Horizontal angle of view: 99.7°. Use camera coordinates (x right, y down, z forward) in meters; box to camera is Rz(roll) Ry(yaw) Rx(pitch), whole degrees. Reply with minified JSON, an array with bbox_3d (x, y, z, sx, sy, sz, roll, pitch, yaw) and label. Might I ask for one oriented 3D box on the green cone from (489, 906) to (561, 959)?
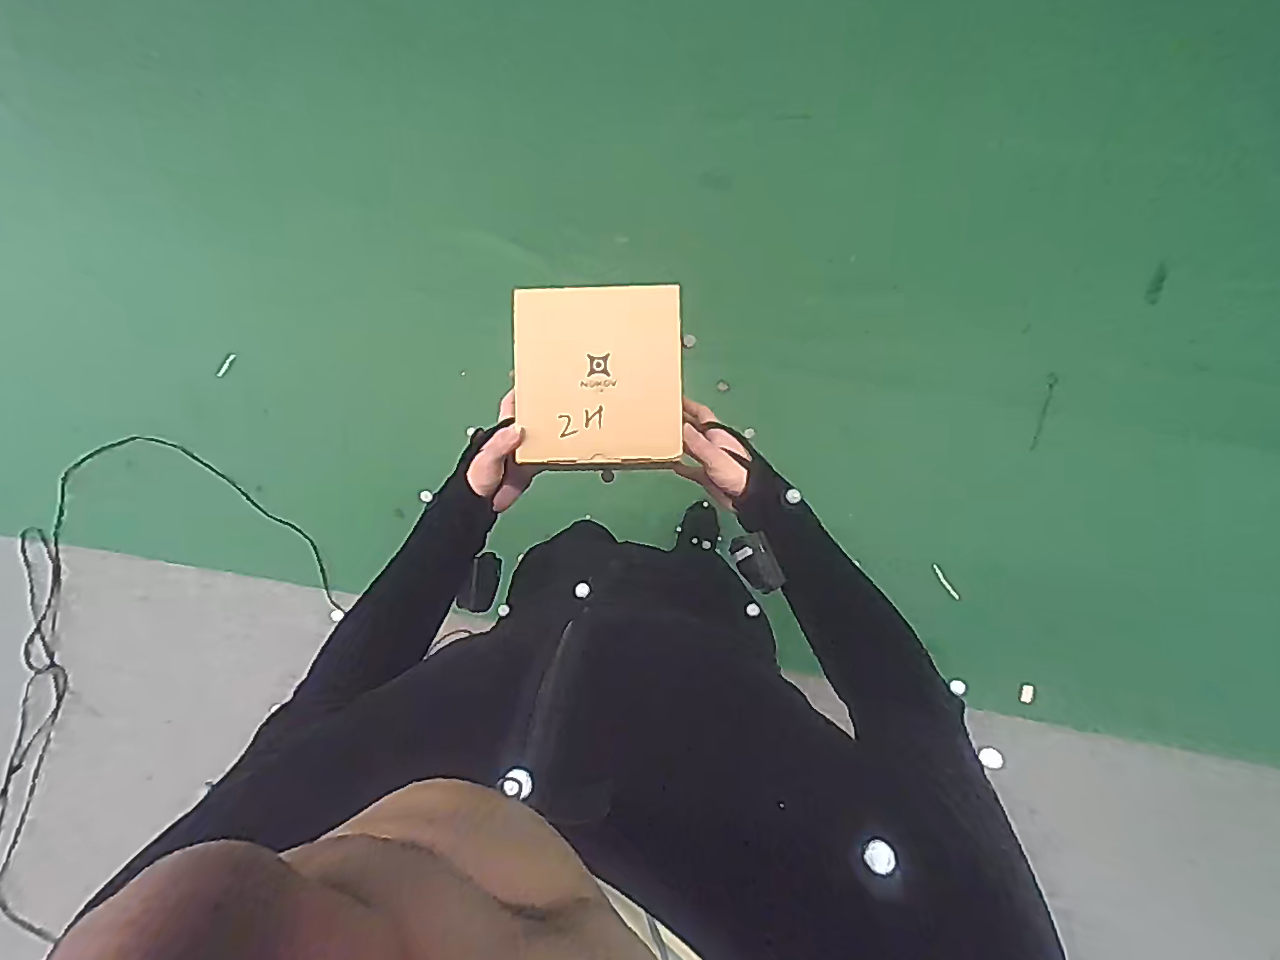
[{"bbox_3d":[-0.365,1.393,1.459,0.202,0.368,0.200,10,88,7],"label":"green cone"}]
